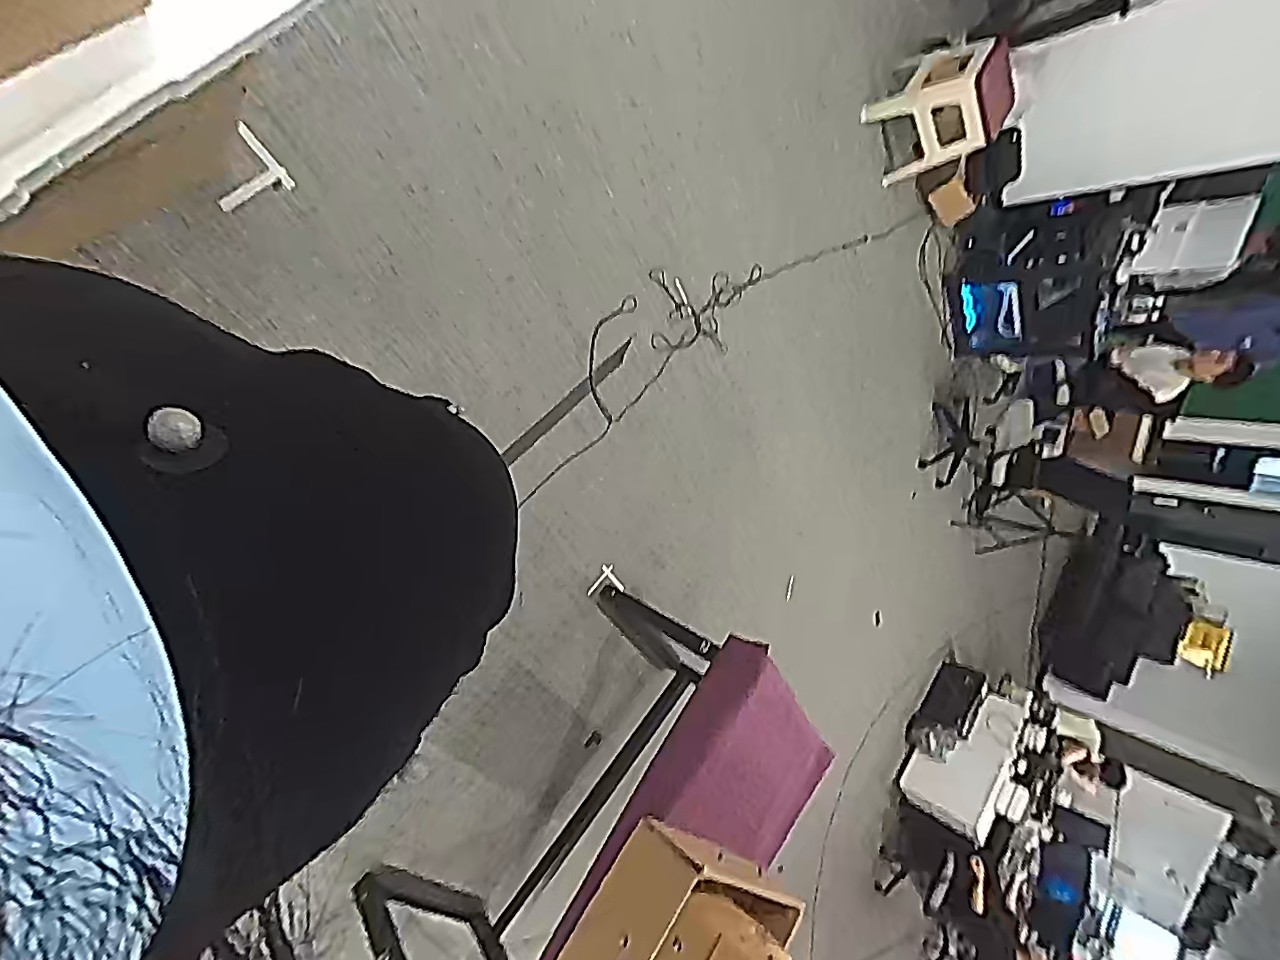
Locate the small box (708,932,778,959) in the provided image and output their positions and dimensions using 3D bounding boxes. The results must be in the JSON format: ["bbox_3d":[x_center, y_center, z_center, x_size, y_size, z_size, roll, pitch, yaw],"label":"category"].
[{"bbox_3d":[0.219,1.071,1.105,0.168,0.176,0.179,44,73,-40],"label":"small box"}]
